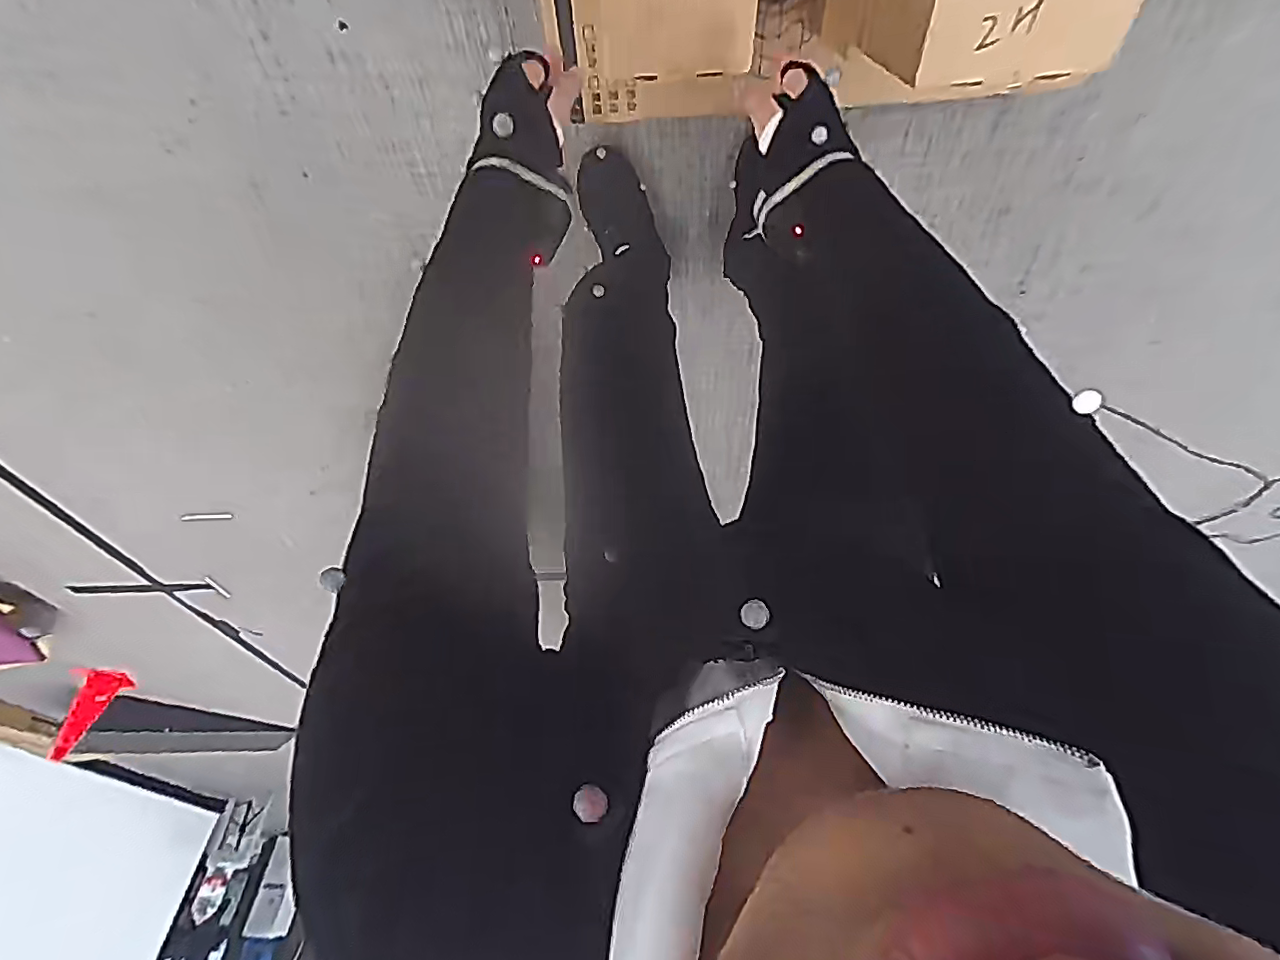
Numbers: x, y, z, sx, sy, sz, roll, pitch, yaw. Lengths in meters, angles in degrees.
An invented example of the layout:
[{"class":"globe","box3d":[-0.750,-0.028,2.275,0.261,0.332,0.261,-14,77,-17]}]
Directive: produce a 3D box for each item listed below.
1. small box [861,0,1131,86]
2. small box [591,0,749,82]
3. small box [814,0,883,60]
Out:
[{"class":"small box","box3d":[0.306,-0.465,0.459,0.168,0.176,0.179,-3,138,3]},{"class":"small box","box3d":[0.032,-0.564,0.590,0.168,0.176,0.179,-1,139,2]},{"class":"small box","box3d":[0.300,-0.577,0.581,0.168,0.176,0.179,0,139,0]}]
